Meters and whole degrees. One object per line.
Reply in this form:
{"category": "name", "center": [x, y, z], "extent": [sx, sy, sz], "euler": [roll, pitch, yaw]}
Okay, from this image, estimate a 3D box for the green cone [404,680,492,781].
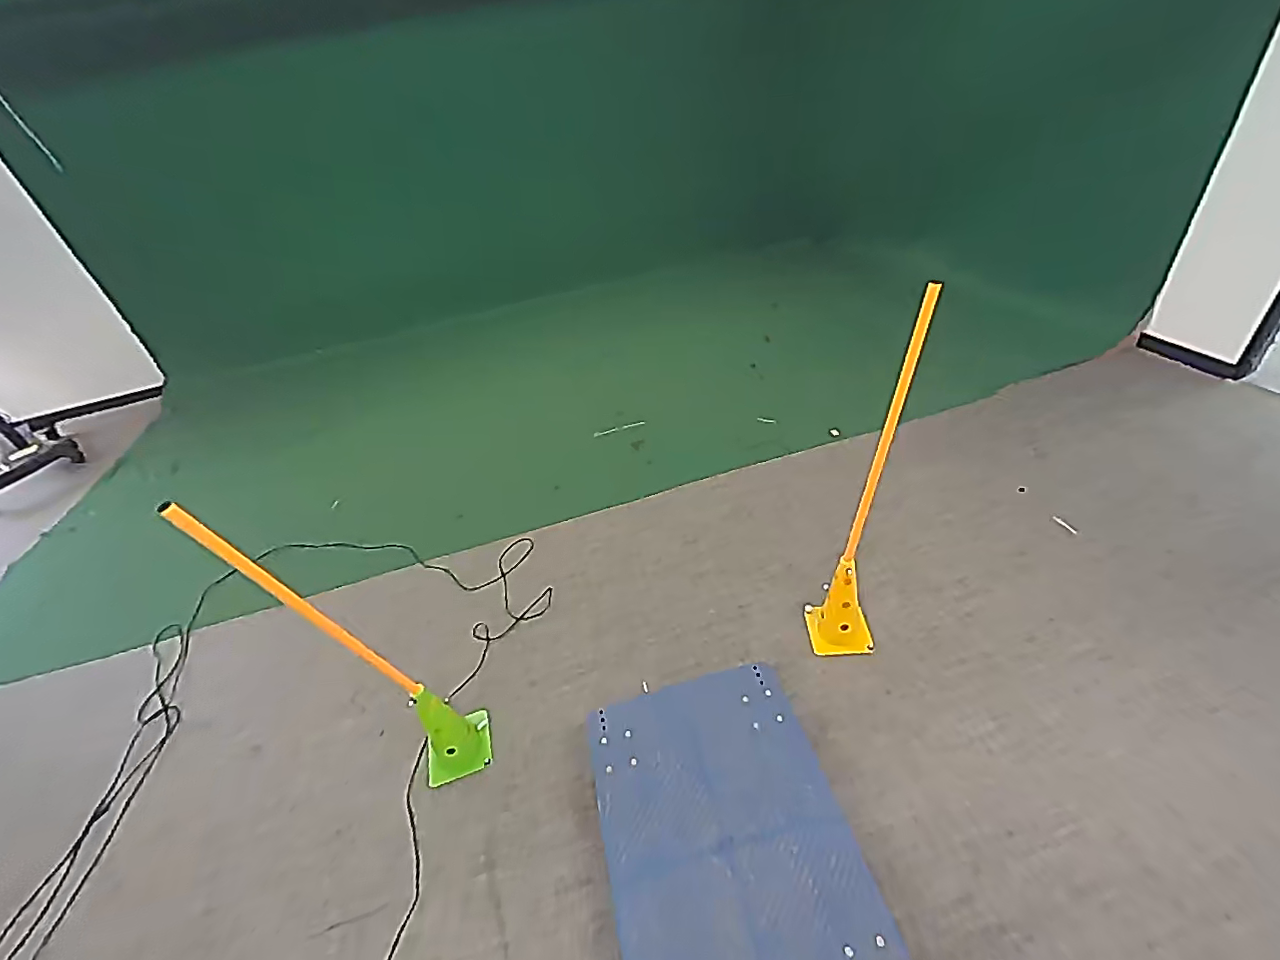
{"category": "green cone", "center": [-0.620, 0.721, 1.659], "extent": [0.202, 0.368, 0.200], "euler": [-20, 39, -8]}
